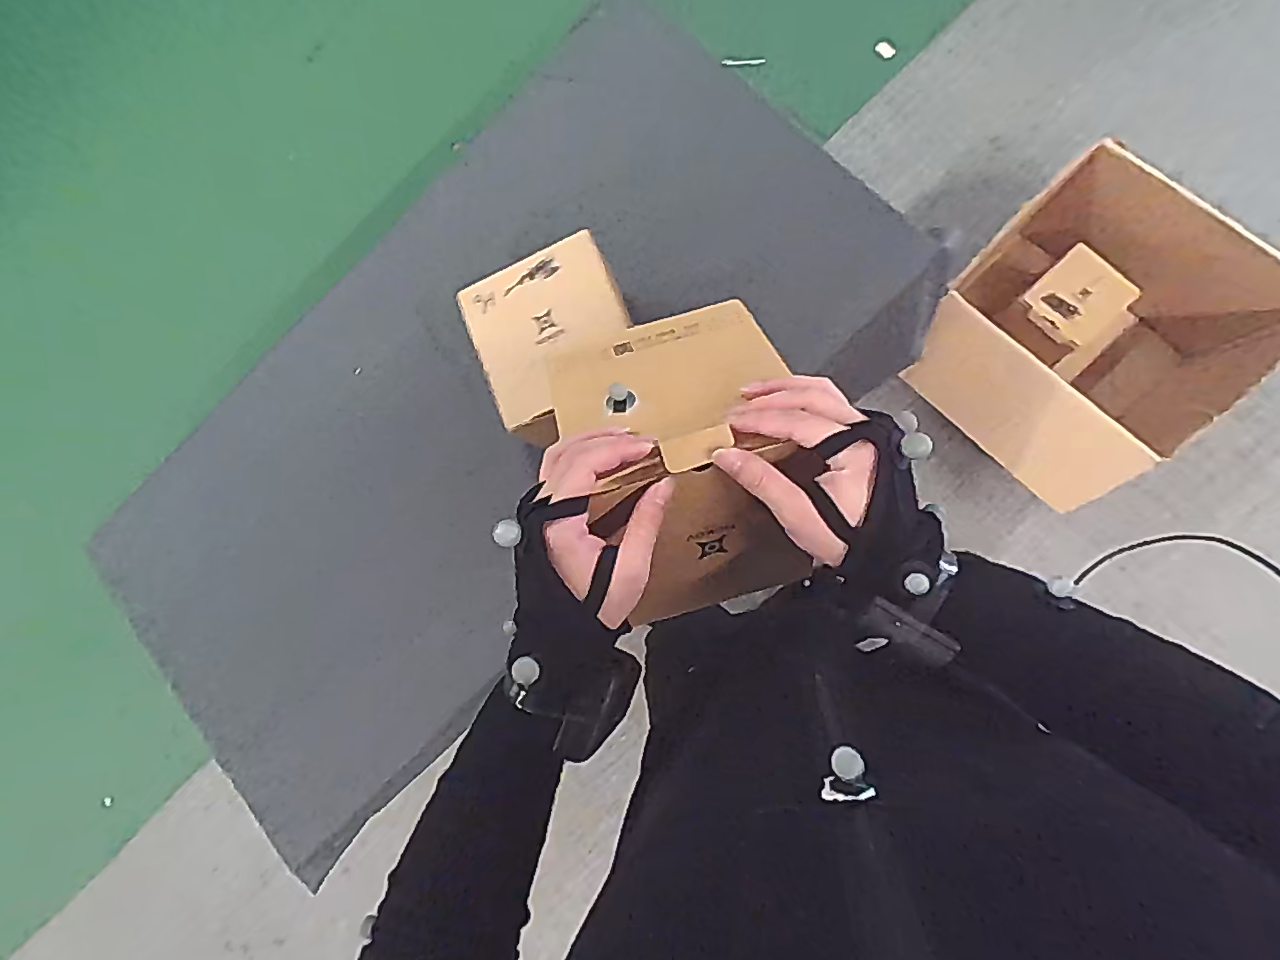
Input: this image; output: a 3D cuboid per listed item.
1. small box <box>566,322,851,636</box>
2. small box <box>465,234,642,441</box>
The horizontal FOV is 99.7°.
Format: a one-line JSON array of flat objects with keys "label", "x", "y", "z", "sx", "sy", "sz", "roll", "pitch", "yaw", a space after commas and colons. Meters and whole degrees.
[{"label": "small box", "x": 0.044, "y": -0.007, "z": 0.436, "sx": 0.168, "sy": 0.179, "sz": 0.176, "roll": -14, "pitch": 47, "yaw": -2}, {"label": "small box", "x": -0.082, "y": -0.157, "z": 0.673, "sx": 0.168, "sy": 0.176, "sz": 0.179, "roll": -23, "pitch": 82, "yaw": 7}]
